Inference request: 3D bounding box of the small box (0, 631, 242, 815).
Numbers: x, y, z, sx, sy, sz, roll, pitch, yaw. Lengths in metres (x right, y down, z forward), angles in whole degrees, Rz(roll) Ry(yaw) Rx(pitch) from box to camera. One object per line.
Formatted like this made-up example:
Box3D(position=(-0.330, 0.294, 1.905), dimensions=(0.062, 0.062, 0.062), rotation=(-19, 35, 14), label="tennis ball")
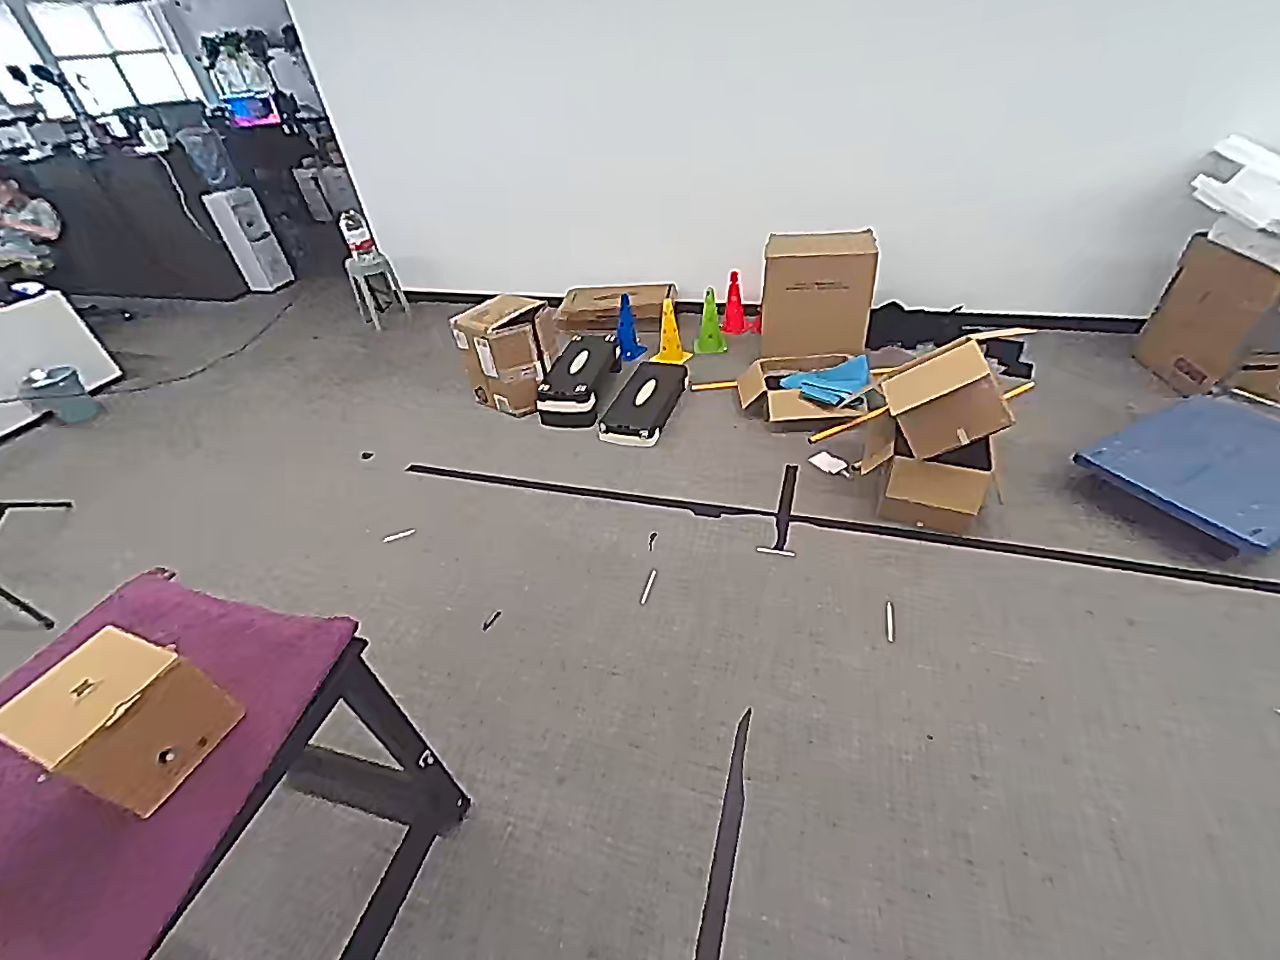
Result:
Box3D(position=(-0.746, 0.353, 0.788), dimensions=(0.179, 0.176, 0.168), rotation=(9, 42, 20), label="small box")
